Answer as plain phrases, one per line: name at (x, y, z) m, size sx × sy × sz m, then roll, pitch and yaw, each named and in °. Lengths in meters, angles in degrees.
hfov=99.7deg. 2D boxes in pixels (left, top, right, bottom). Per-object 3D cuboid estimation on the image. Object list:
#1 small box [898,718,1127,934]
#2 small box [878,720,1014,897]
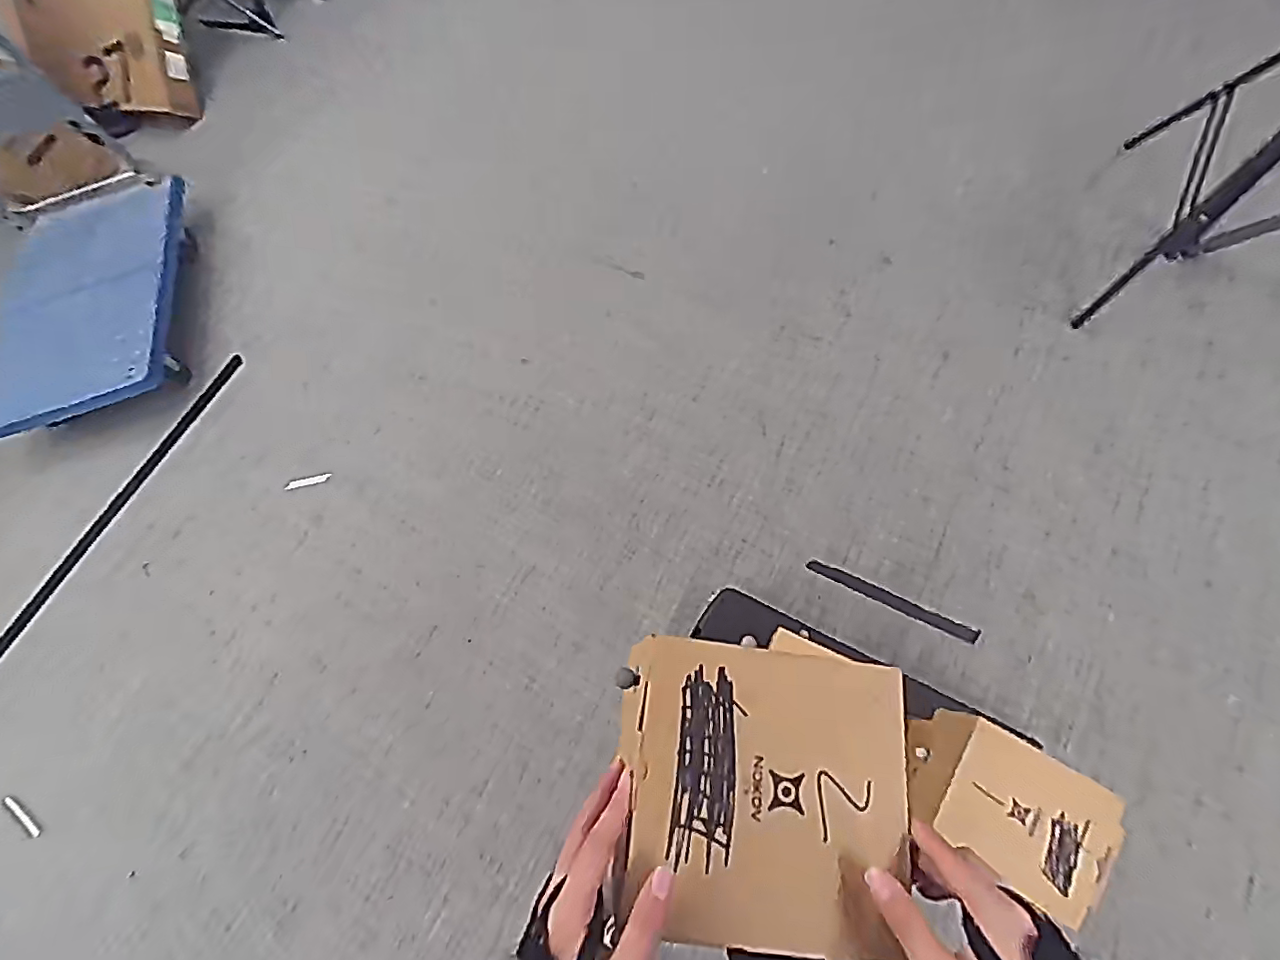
small box at (0.489, 0.445, 0.738) m, size 0.179 × 0.176 × 0.168 m, roll 29°, pitch 77°, yaw 19°
small box at (0.512, 0.516, 0.885) m, size 0.168 × 0.176 × 0.179 m, roll 23°, pitch 76°, yaw 17°
